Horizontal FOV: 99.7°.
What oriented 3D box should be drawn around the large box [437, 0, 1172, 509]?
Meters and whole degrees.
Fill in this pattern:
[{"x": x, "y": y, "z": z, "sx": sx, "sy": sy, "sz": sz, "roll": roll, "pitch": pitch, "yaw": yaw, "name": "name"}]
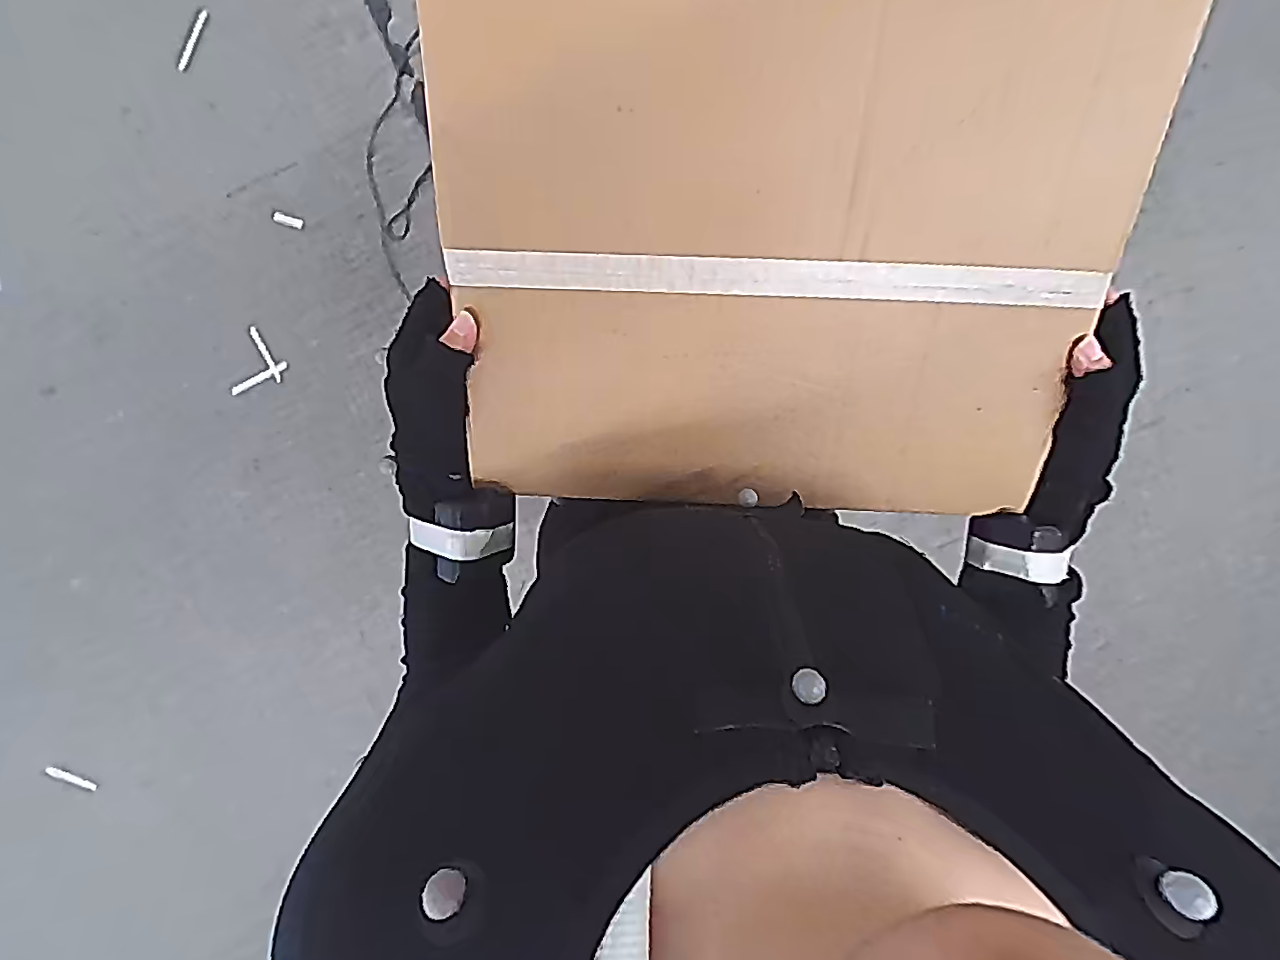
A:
[{"x": 0.085, "y": -0.181, "z": 0.486, "sx": 0.408, "sy": 0.320, "sz": 0.320, "roll": 2, "pitch": 116, "yaw": 0, "name": "large box"}]
